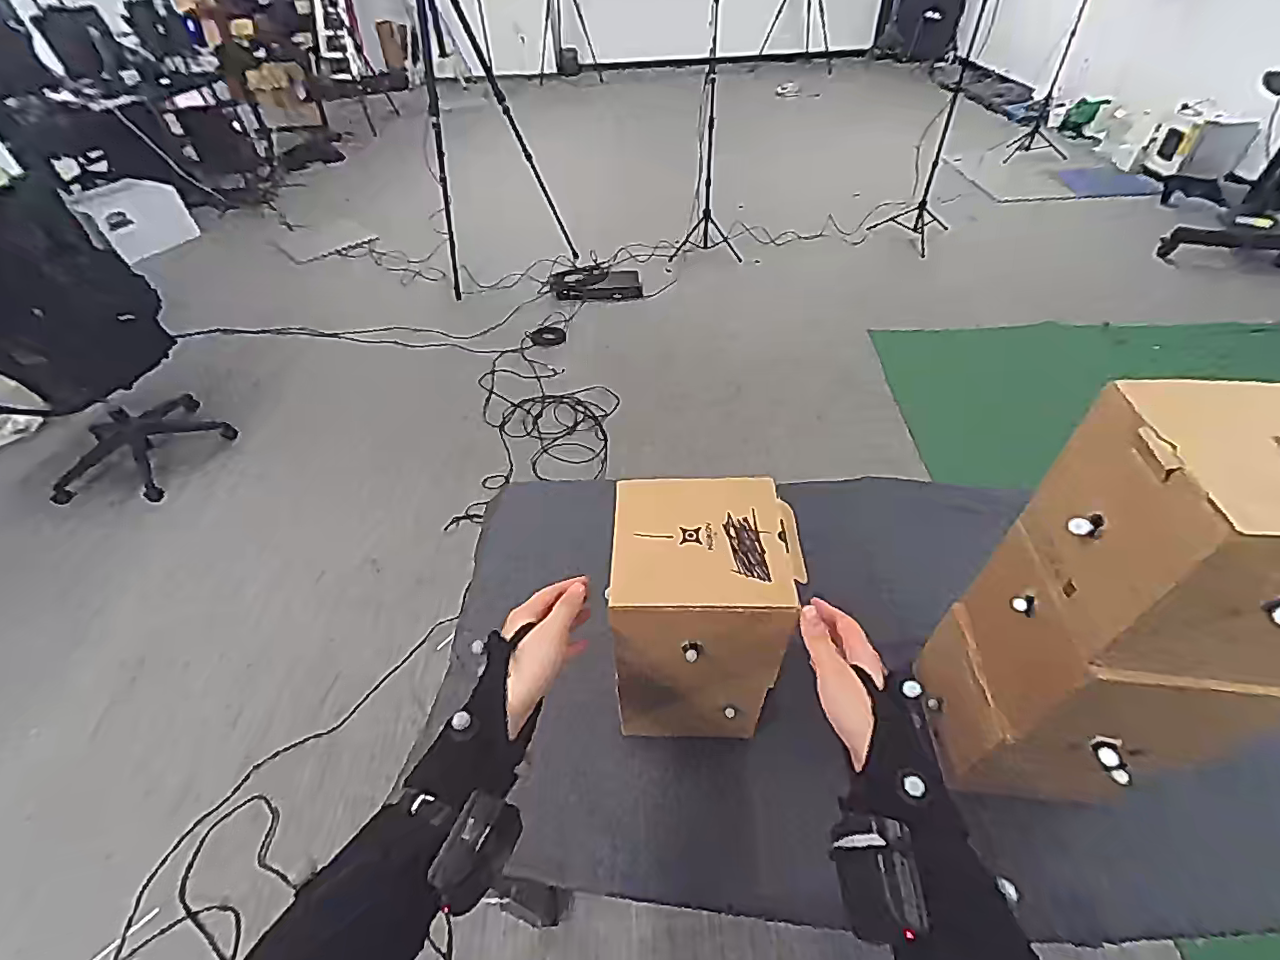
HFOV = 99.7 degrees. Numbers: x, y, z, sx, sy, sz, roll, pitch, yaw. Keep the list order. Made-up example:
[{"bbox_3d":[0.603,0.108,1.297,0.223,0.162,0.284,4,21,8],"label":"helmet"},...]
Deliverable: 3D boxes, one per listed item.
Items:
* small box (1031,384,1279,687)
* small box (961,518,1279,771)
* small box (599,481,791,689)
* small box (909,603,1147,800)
[{"bbox_3d":[0.444,0.042,0.421,0.179,0.176,0.168,4,45,9],"label":"small box"},{"bbox_3d":[0.449,0.160,0.535,0.168,0.176,0.179,2,46,8],"label":"small box"},{"bbox_3d":[0.055,0.118,0.599,0.179,0.176,0.168,-1,46,3],"label":"small box"},{"bbox_3d":[0.458,0.270,0.654,0.179,0.176,0.168,2,45,6],"label":"small box"}]
